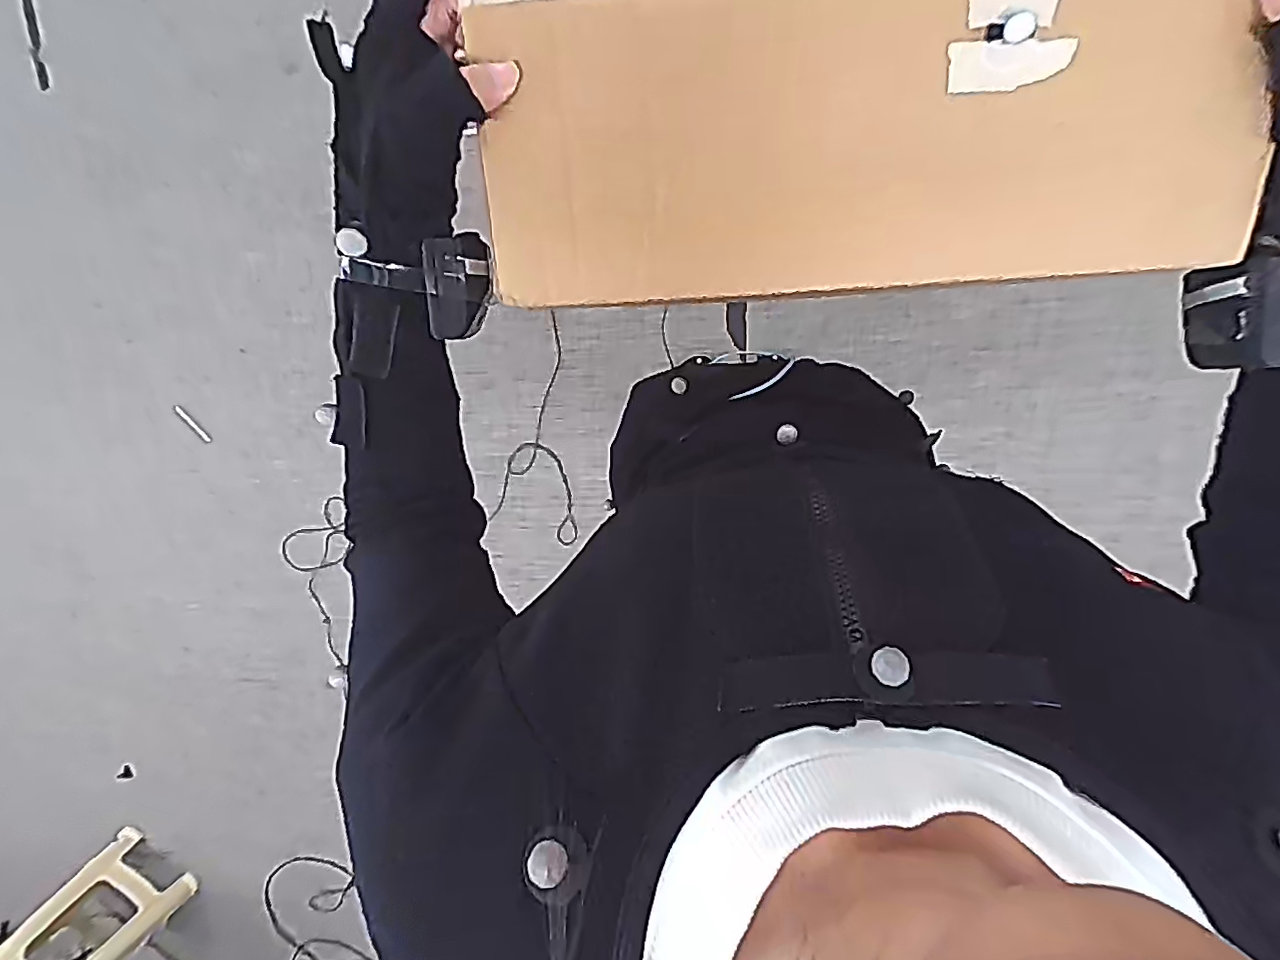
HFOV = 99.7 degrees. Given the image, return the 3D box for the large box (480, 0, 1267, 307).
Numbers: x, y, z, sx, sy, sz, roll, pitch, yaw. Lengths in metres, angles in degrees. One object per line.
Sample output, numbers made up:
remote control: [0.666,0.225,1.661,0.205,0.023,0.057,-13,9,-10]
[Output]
large box: [0.116,-0.310,0.413,0.408,0.320,0.320,-3,108,3]
